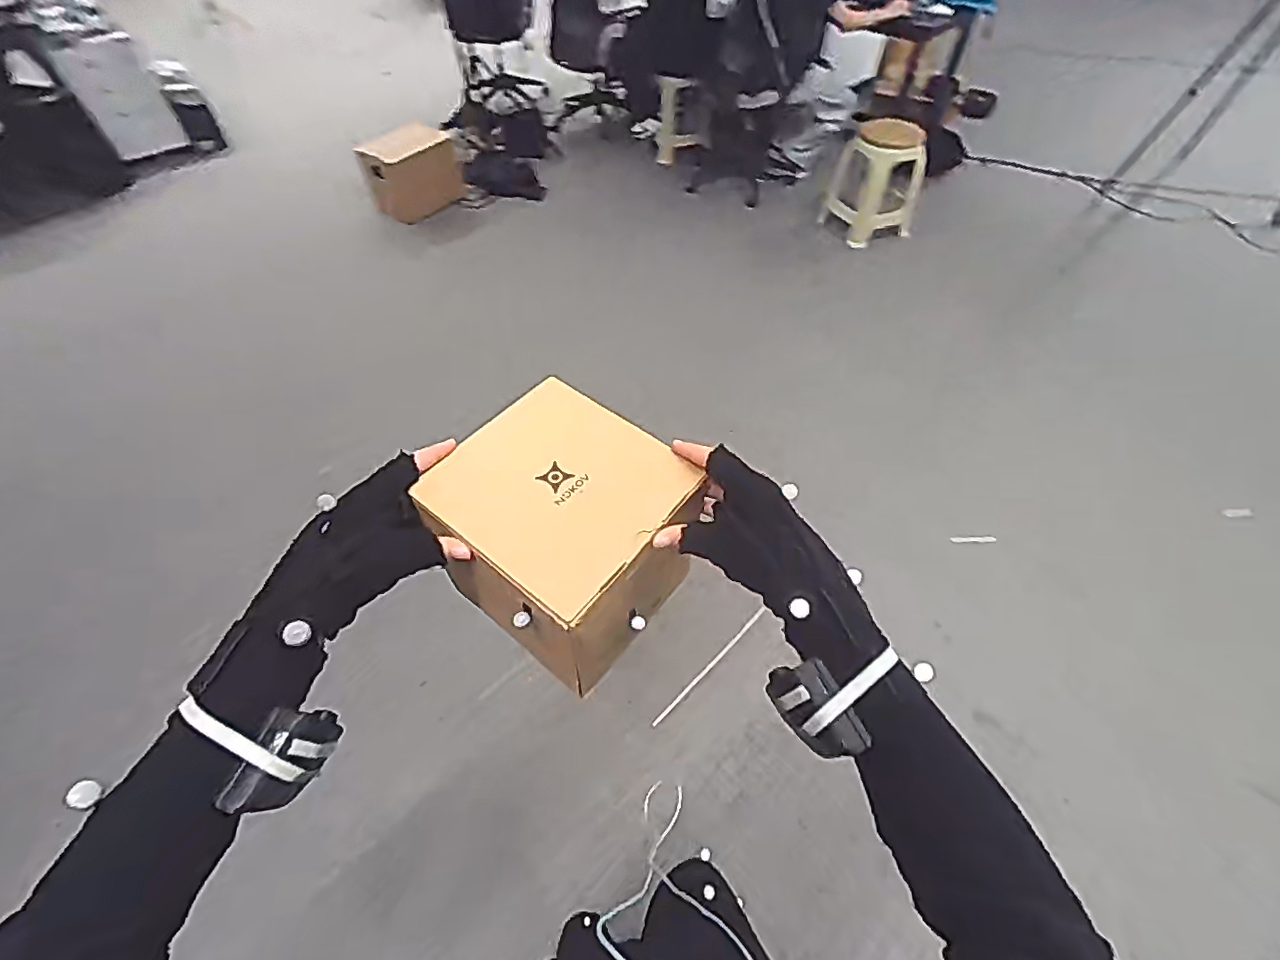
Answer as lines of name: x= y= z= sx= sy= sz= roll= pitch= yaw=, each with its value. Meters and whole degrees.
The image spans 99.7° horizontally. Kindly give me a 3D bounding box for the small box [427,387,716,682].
small box: x=-0.057 y=0.053 z=0.497 sx=0.179 sy=0.176 sz=0.168 roll=34 pitch=59 yaw=21
